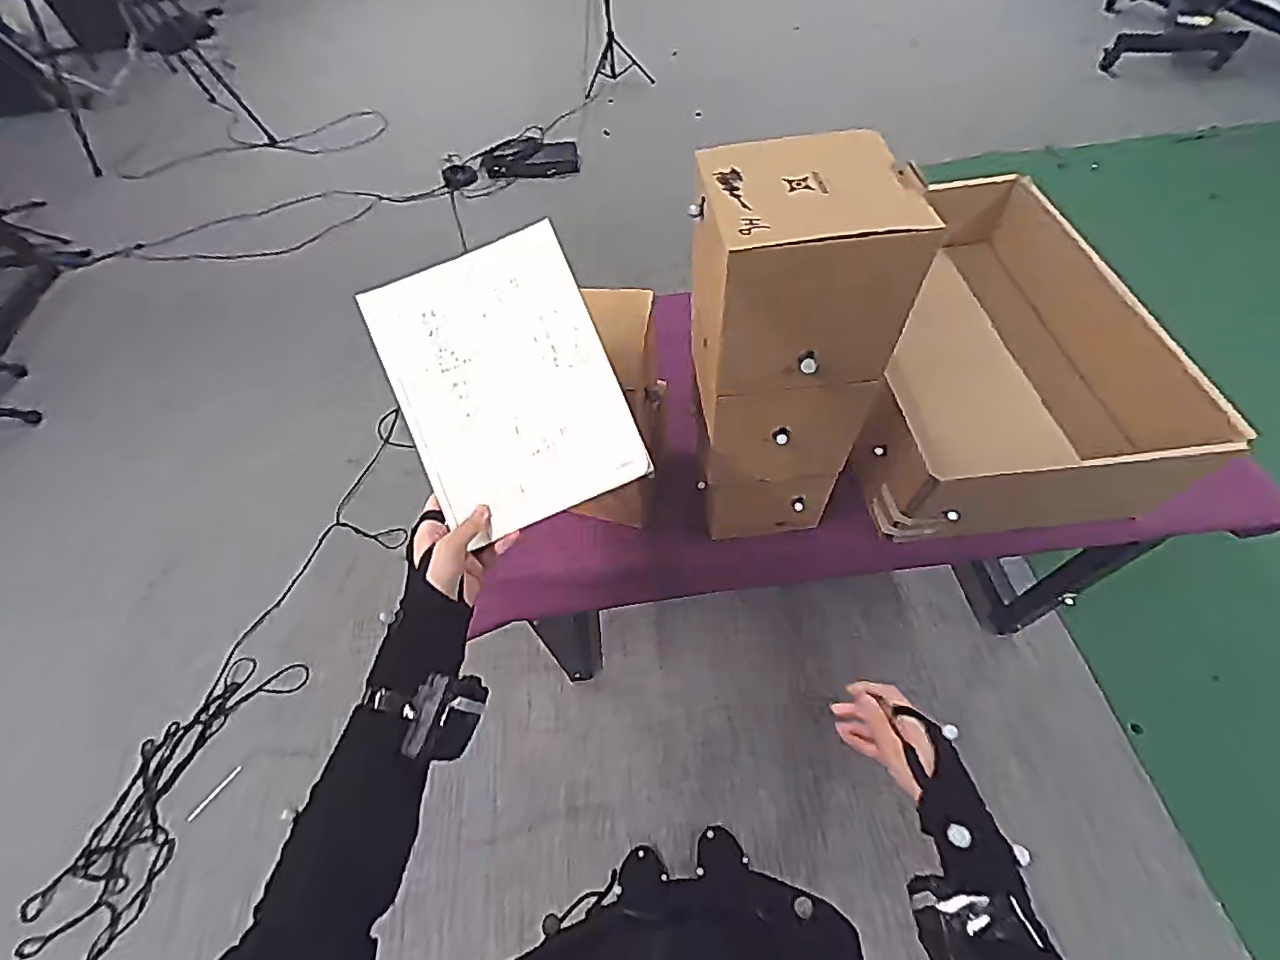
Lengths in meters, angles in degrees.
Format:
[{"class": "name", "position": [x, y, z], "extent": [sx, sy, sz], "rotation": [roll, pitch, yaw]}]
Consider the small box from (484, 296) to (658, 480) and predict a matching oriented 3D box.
[{"class": "small box", "position": [-0.072, -0.113, 0.696], "extent": [0.179, 0.176, 0.168], "rotation": [3, 56, 8]}]

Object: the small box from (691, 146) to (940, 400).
[{"class": "small box", "position": [0.149, -0.198, 0.536], "extent": [0.179, 0.176, 0.168], "rotation": [-6, 54, -1]}]

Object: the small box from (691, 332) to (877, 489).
[{"class": "small box", "position": [0.160, -0.105, 0.671], "extent": [0.179, 0.176, 0.168], "rotation": [-6, 55, 1]}]
